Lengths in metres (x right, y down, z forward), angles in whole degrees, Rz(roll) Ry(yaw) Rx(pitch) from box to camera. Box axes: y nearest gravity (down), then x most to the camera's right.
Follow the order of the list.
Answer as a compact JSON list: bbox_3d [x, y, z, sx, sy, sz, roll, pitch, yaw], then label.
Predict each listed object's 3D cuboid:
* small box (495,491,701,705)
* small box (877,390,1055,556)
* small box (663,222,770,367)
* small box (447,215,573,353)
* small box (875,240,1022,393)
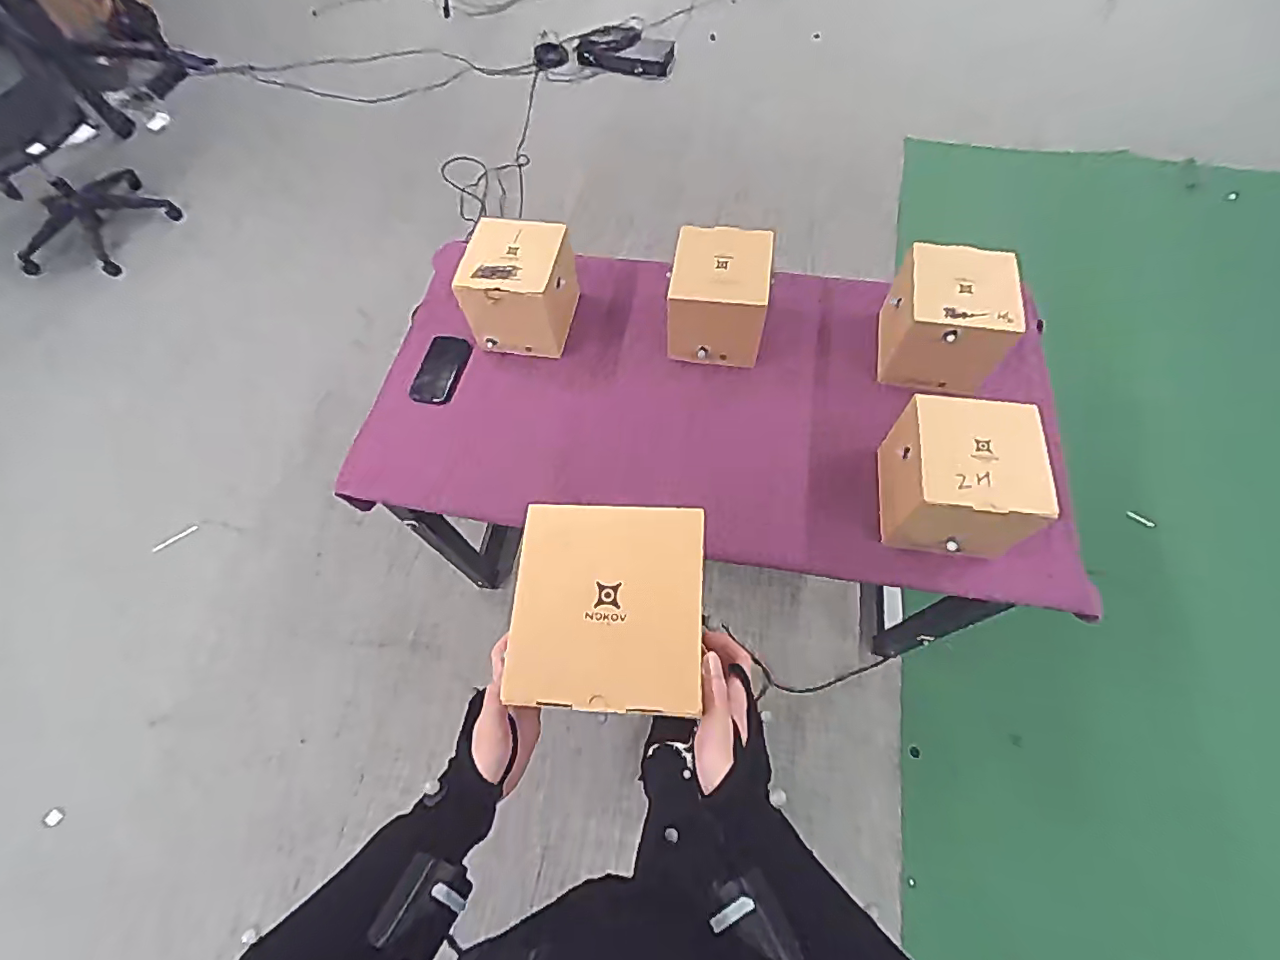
[{"bbox_3d":[-0.027,0.123,0.536,0.168,0.176,0.179,1,68,5],"label":"small box"},{"bbox_3d":[0.457,-0.007,0.793,0.168,0.176,0.179,7,64,8],"label":"small box"},{"bbox_3d":[0.135,-0.333,0.979,0.168,0.176,0.179,7,65,7],"label":"small box"},{"bbox_3d":[-0.229,-0.360,1.009,0.168,0.176,0.179,8,64,6],"label":"small box"},{"bbox_3d":[0.516,-0.278,0.931,0.168,0.176,0.179,9,64,8],"label":"small box"}]
